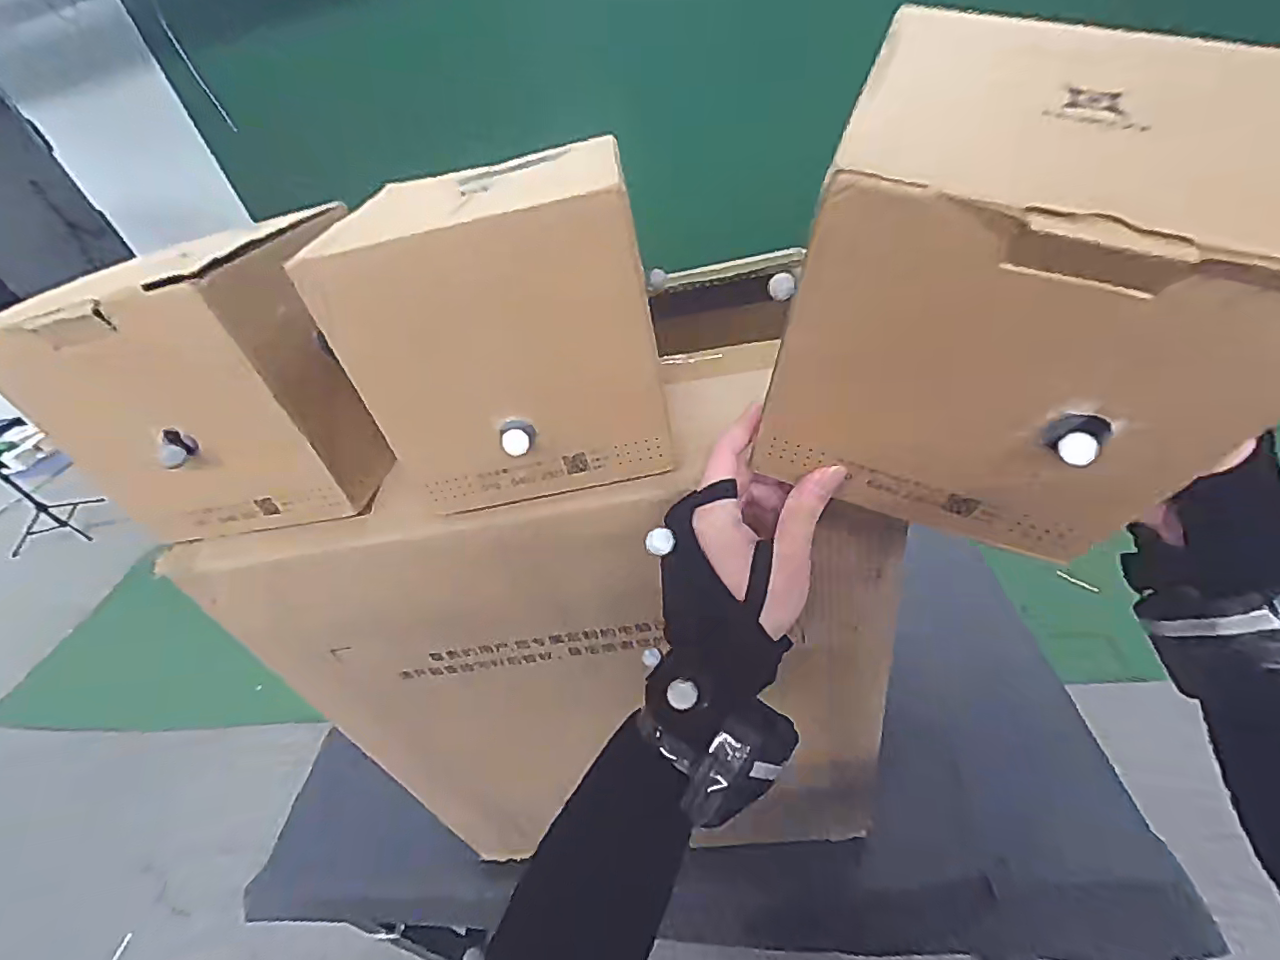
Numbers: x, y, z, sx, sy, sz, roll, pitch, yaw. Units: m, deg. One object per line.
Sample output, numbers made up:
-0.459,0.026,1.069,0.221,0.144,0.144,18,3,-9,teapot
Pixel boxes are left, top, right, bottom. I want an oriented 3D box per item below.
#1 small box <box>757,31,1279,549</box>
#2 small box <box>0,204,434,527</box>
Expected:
0.167,-0.091,0.277,0.168,0.176,0.179,18,56,11,small box
-0.283,-0.079,0.405,0.168,0.176,0.179,-8,39,9,small box
